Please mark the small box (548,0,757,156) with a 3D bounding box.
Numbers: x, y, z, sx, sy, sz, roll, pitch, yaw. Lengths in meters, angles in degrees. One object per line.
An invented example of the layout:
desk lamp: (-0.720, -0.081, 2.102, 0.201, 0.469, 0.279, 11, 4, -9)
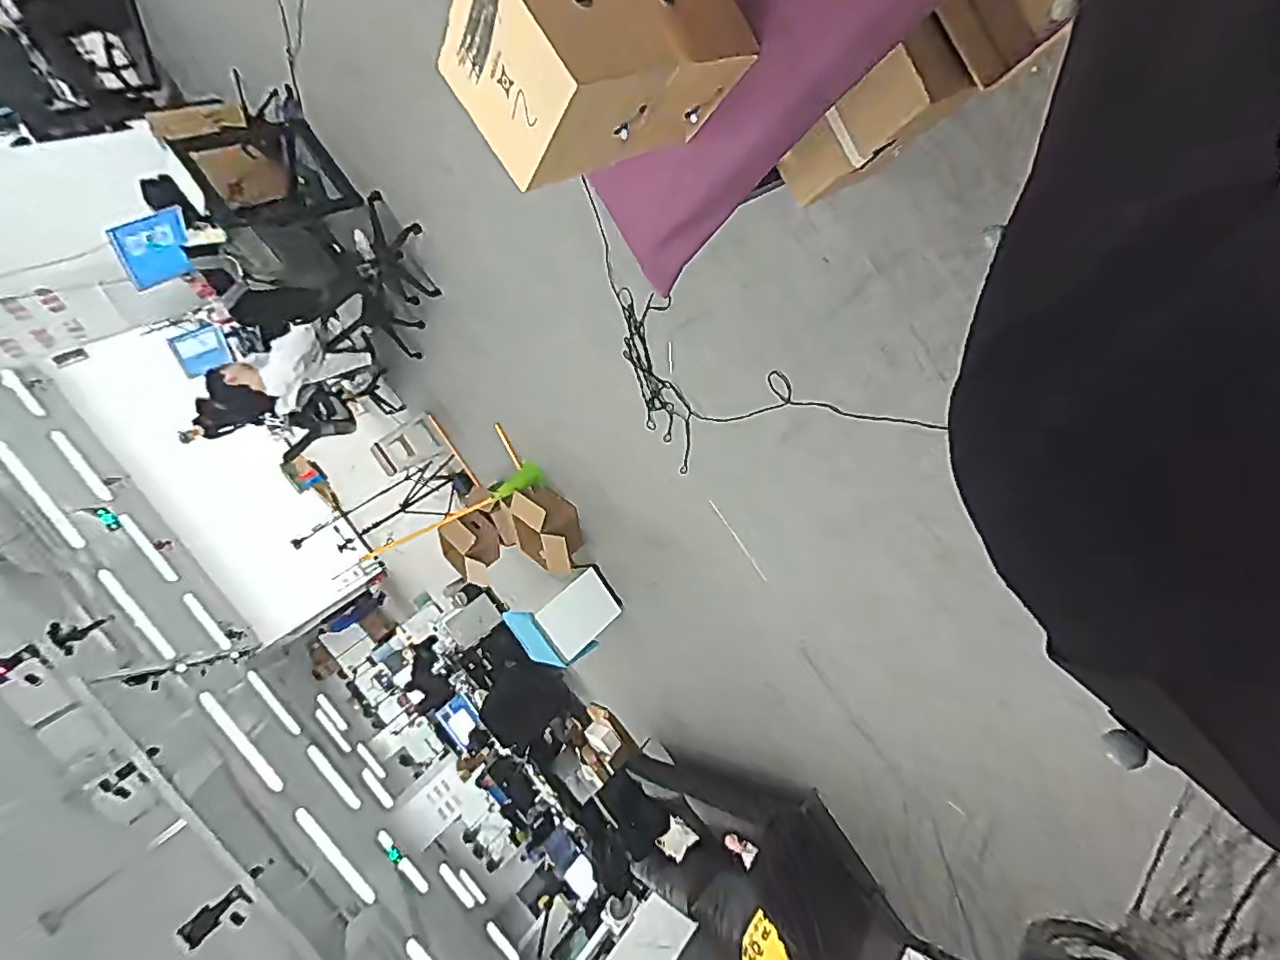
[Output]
small box: (0.017, -0.573, 0.712, 0.179, 0.176, 0.168, 56, 148, -8)
